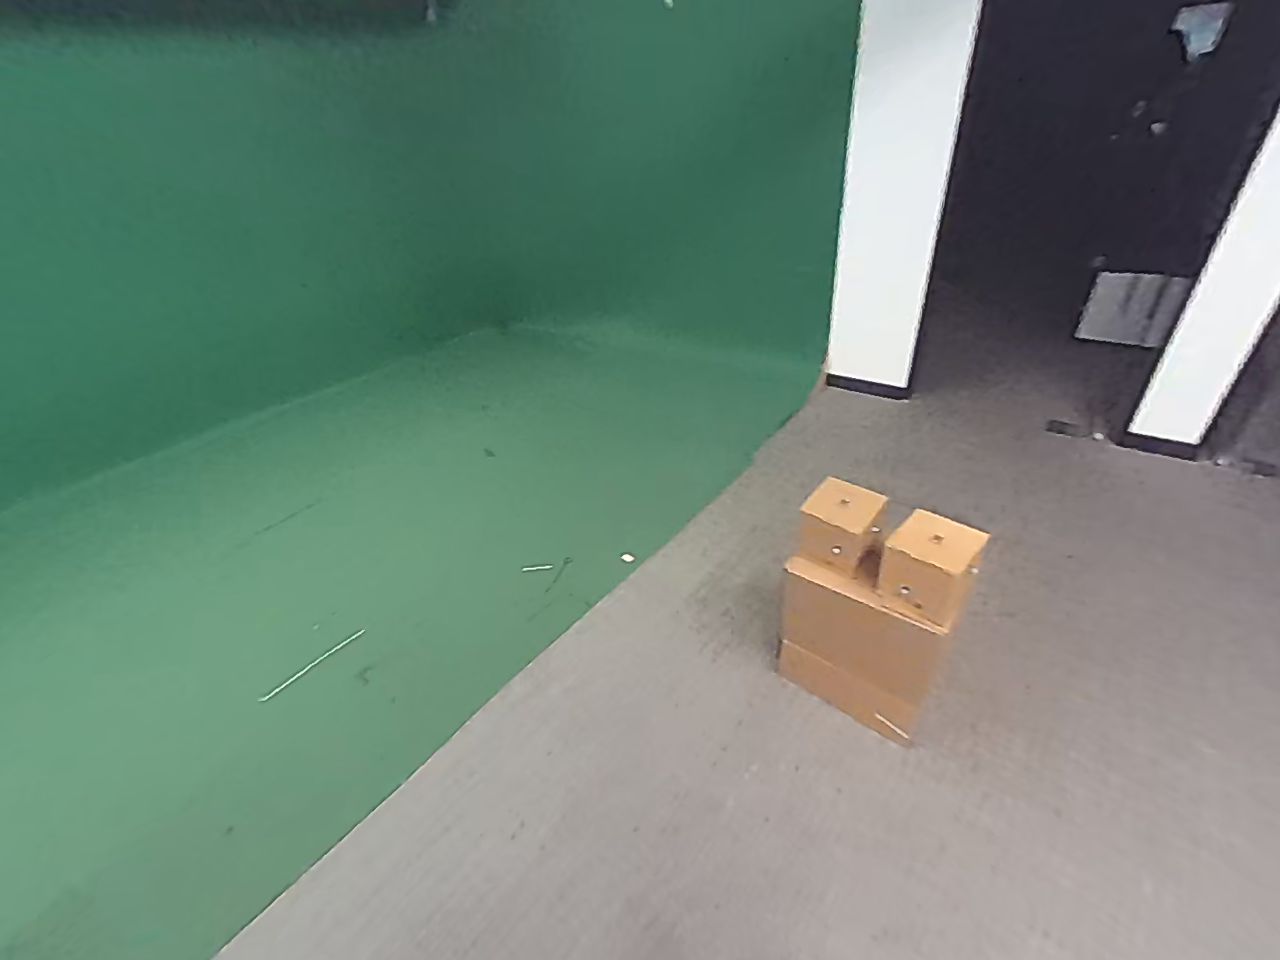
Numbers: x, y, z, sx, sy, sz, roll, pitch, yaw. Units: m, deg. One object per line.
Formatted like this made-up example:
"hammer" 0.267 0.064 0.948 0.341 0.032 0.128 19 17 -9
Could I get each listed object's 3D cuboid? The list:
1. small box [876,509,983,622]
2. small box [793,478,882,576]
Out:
"small box" 0.694 0.205 1.313 0.179 0.176 0.168 -33 41 -31
"small box" 0.526 0.127 1.457 0.168 0.176 0.179 24 46 34
